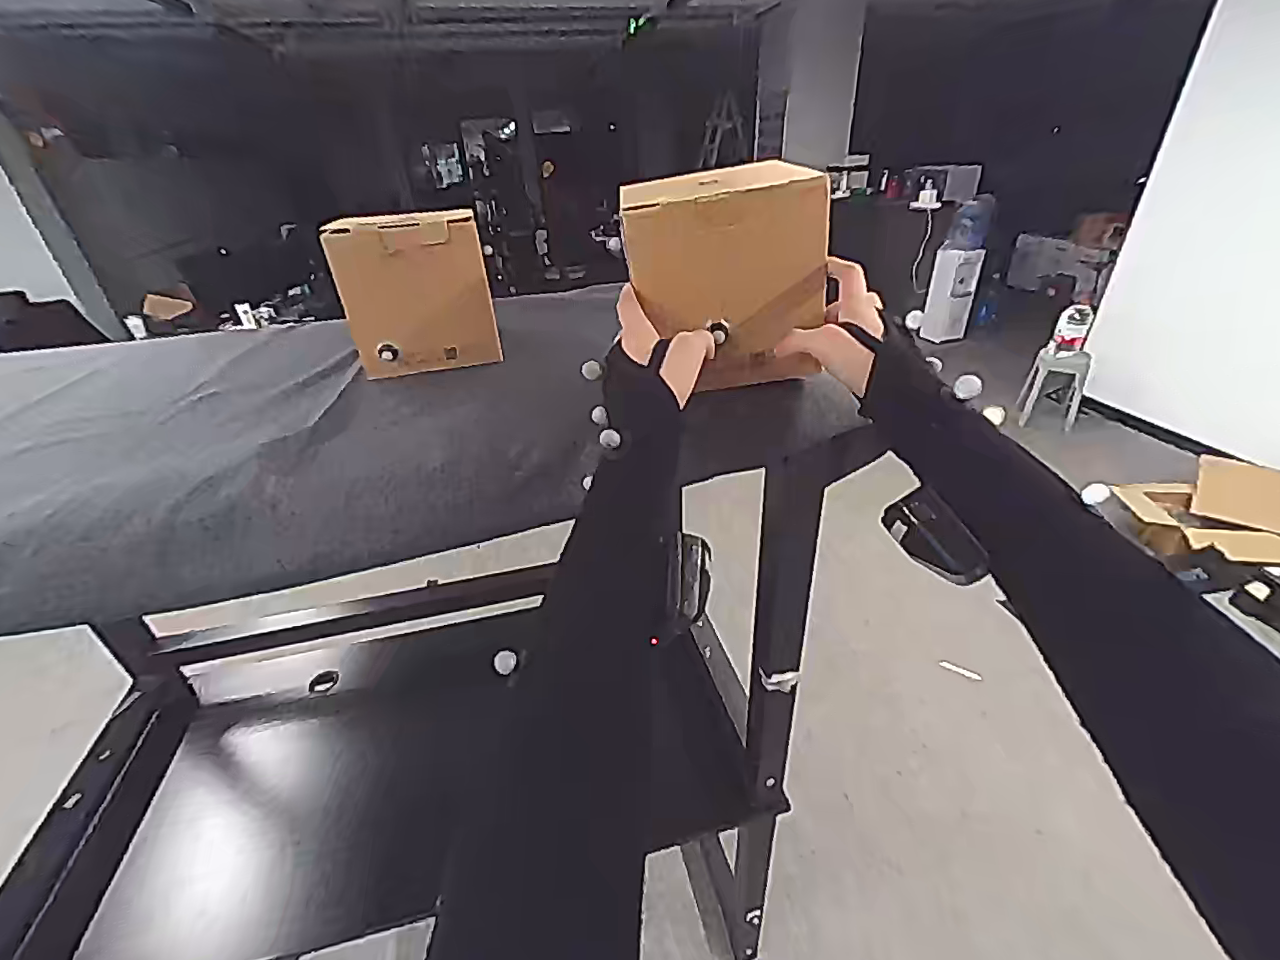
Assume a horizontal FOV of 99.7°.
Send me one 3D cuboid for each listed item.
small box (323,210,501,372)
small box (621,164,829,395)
[{"bbox_3d":[-0.283,-0.247,0.707,0.168,0.176,0.179,-11,32,-12],"label":"small box"},{"bbox_3d":[0.074,-0.201,0.534,0.168,0.176,0.179,-8,34,3],"label":"small box"}]
